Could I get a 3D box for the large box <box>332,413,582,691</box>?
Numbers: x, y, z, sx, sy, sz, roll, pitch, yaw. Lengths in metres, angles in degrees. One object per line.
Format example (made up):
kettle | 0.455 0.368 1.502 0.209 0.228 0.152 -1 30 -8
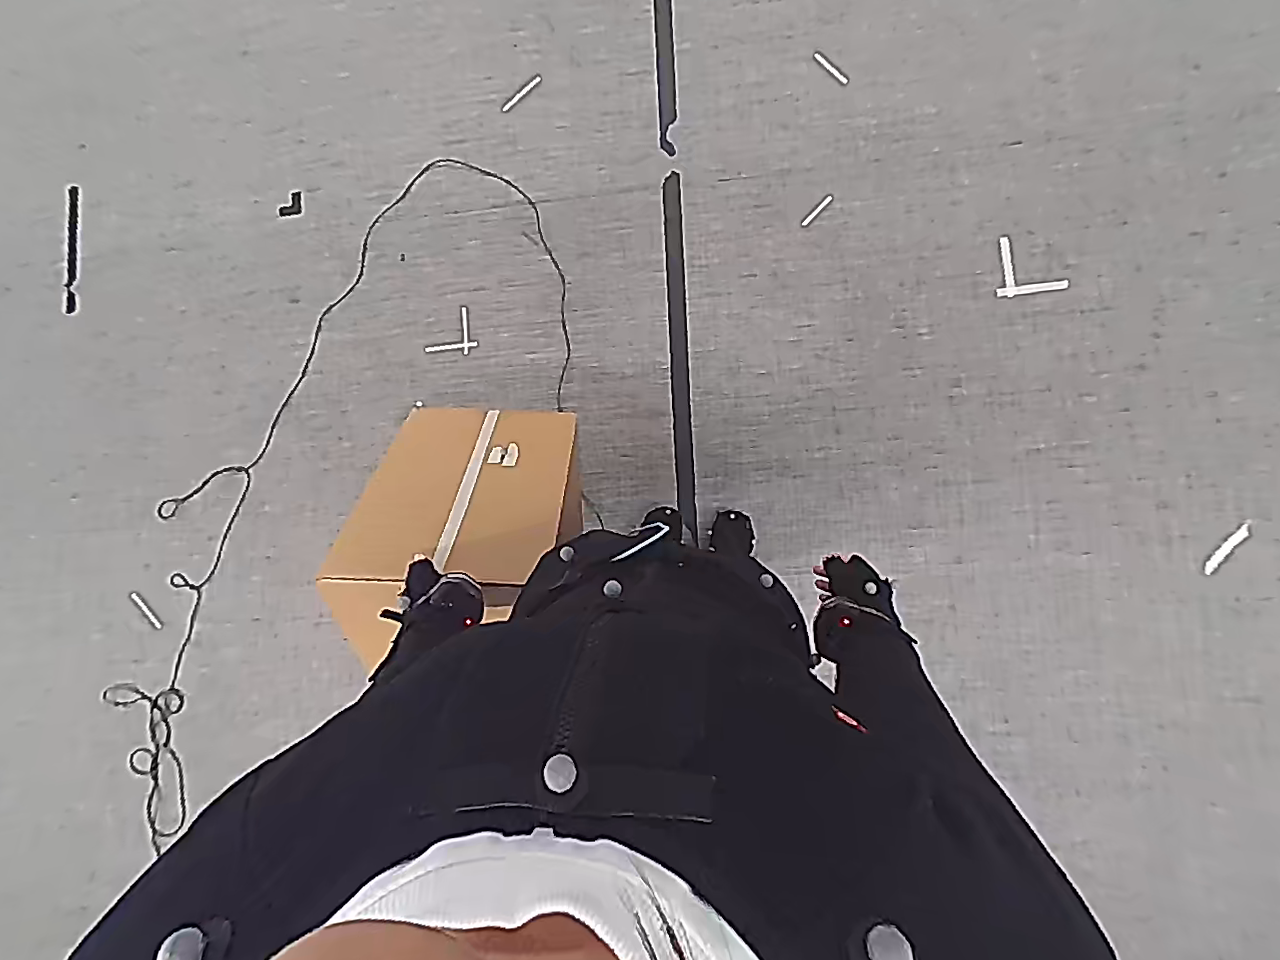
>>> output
large box | -0.276 0.123 0.979 0.320 0.408 0.320 3 131 -2
